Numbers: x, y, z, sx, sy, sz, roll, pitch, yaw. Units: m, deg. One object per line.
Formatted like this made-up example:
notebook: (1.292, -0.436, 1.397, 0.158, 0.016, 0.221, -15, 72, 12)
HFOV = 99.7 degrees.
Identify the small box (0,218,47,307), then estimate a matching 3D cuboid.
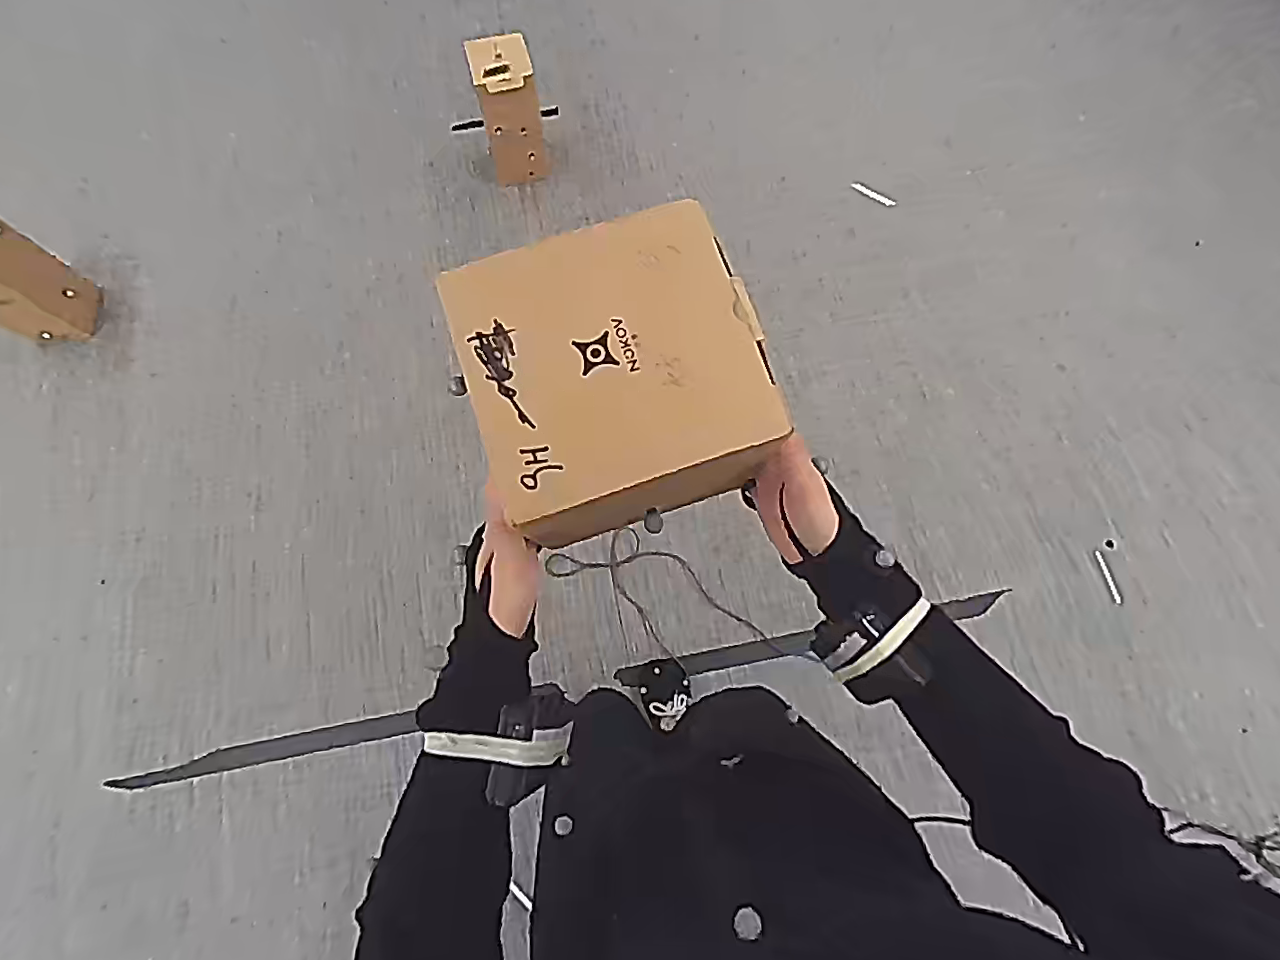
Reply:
small box: (-1.676, -0.561, 1.366, 0.168, 0.176, 0.179, -7, 74, -2)

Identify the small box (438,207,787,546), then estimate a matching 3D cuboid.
small box: (-0.022, -0.059, 0.402, 0.179, 0.176, 0.168, -18, 78, -6)

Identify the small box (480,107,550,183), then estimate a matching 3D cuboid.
small box: (-0.392, -1.074, 1.714, 0.168, 0.176, 0.179, -15, 73, -6)

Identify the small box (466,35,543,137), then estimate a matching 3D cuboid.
small box: (-0.384, -1.123, 1.557, 0.168, 0.176, 0.179, -14, 73, -5)
